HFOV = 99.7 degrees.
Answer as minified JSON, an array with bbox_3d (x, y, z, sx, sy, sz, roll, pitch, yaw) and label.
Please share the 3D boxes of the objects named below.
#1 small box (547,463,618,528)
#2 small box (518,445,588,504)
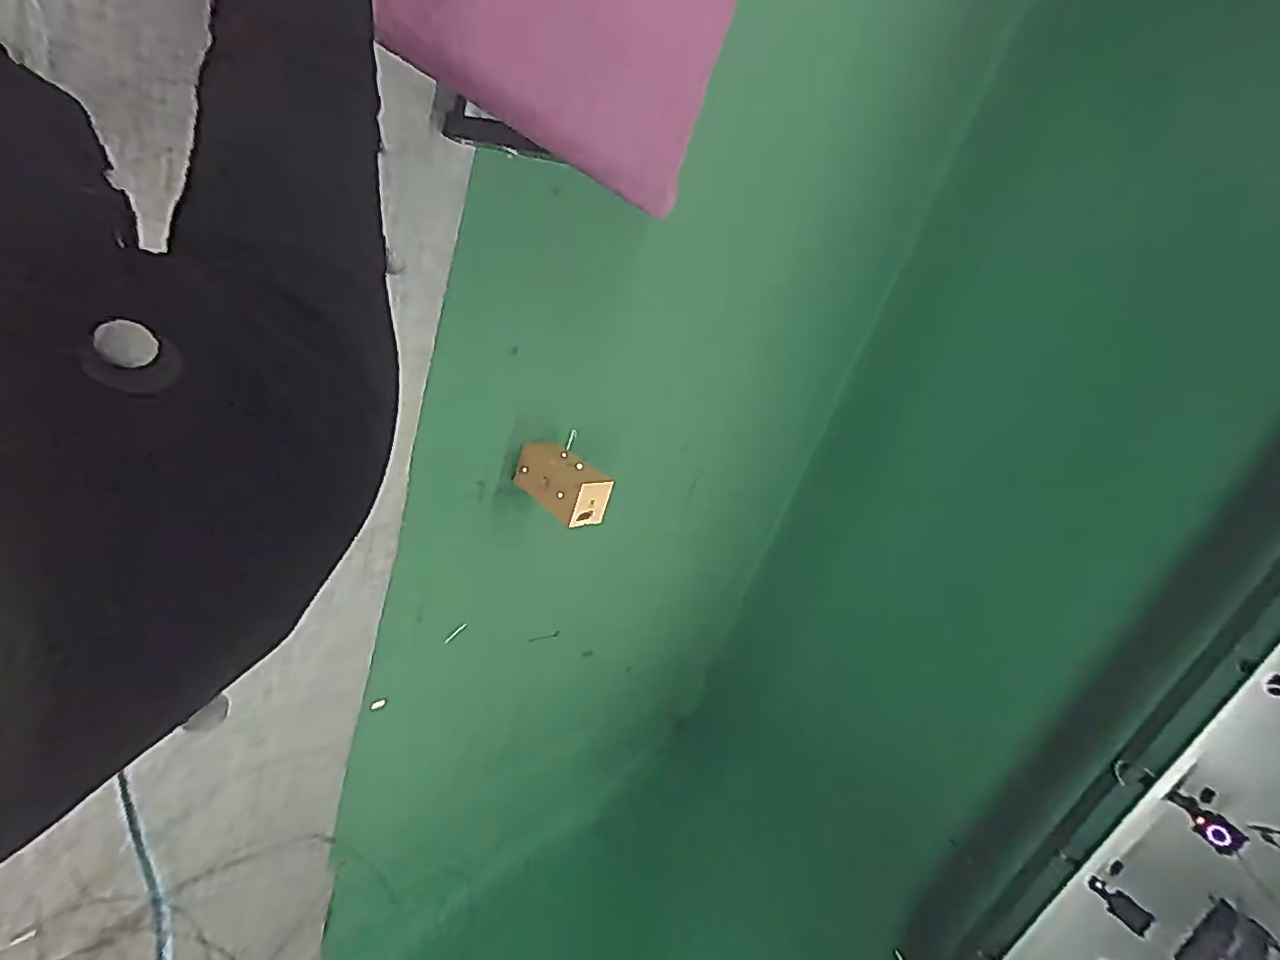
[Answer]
[{"bbox_3d":[-0.215,0.054,1.967,0.168,0.176,0.179,-2,119,-53],"label":"small box"},{"bbox_3d":[-0.333,-0.026,2.055,0.179,0.176,0.168,-4,119,-50],"label":"small box"}]
